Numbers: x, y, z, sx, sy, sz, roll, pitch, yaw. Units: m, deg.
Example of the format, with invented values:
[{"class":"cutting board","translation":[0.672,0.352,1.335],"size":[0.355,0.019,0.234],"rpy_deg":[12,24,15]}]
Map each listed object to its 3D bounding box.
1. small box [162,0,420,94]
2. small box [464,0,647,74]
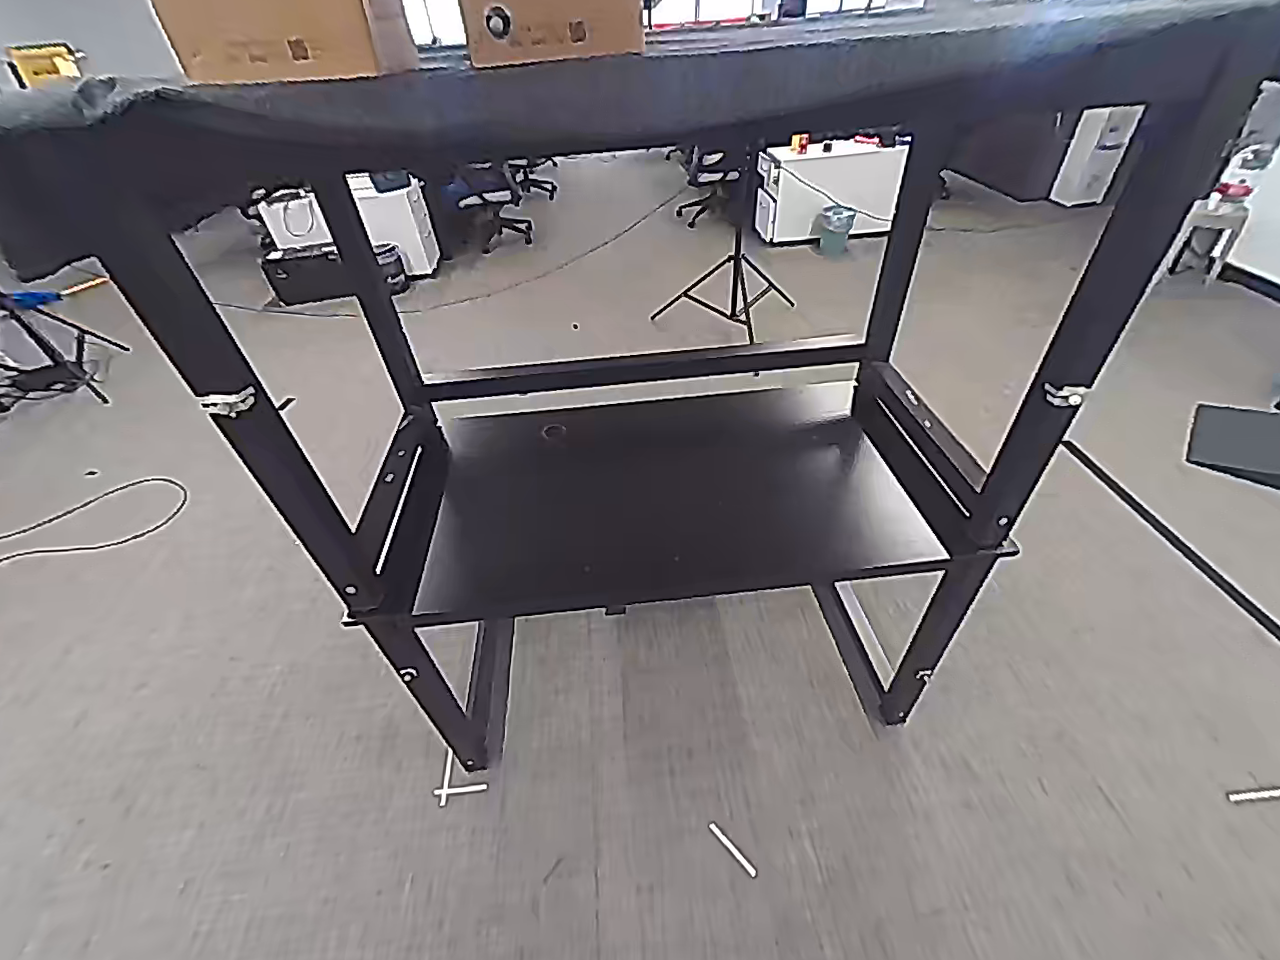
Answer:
[{"class":"small box","translation":[-0.321,-0.462,0.495],"size":[0.168,0.176,0.179],"rpy_deg":[-5,39,-2]},{"class":"small box","translation":[-0.083,-0.505,0.521],"size":[0.168,0.176,0.179],"rpy_deg":[-5,38,0]}]
